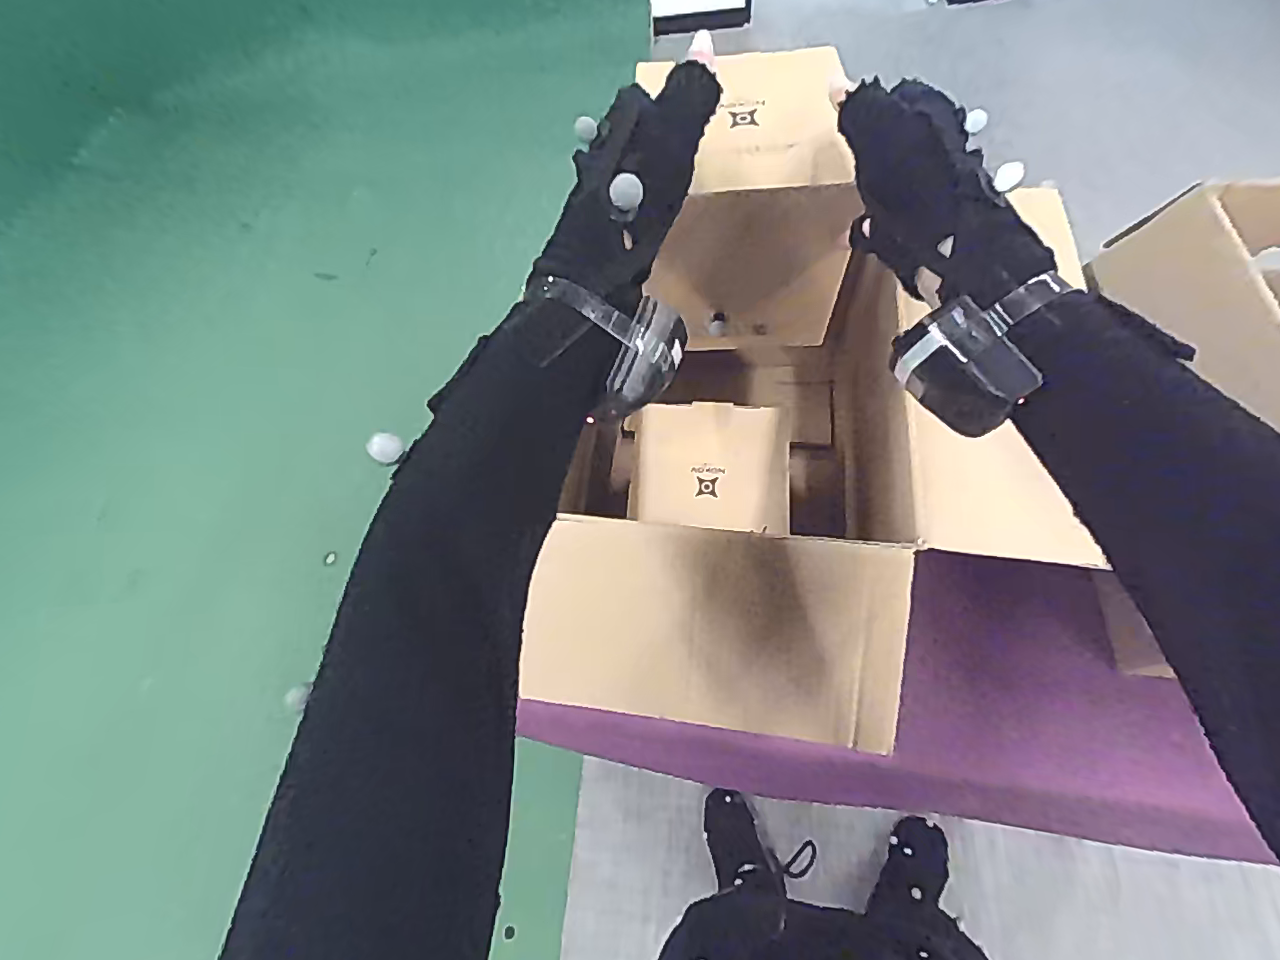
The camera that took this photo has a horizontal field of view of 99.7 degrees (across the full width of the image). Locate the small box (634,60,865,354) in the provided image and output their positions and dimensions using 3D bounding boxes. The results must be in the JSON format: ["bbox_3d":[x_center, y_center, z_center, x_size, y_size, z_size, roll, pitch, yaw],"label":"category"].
[{"bbox_3d":[0.085,-0.238,0.492,0.168,0.176,0.179,-2,63,6],"label":"small box"}]
